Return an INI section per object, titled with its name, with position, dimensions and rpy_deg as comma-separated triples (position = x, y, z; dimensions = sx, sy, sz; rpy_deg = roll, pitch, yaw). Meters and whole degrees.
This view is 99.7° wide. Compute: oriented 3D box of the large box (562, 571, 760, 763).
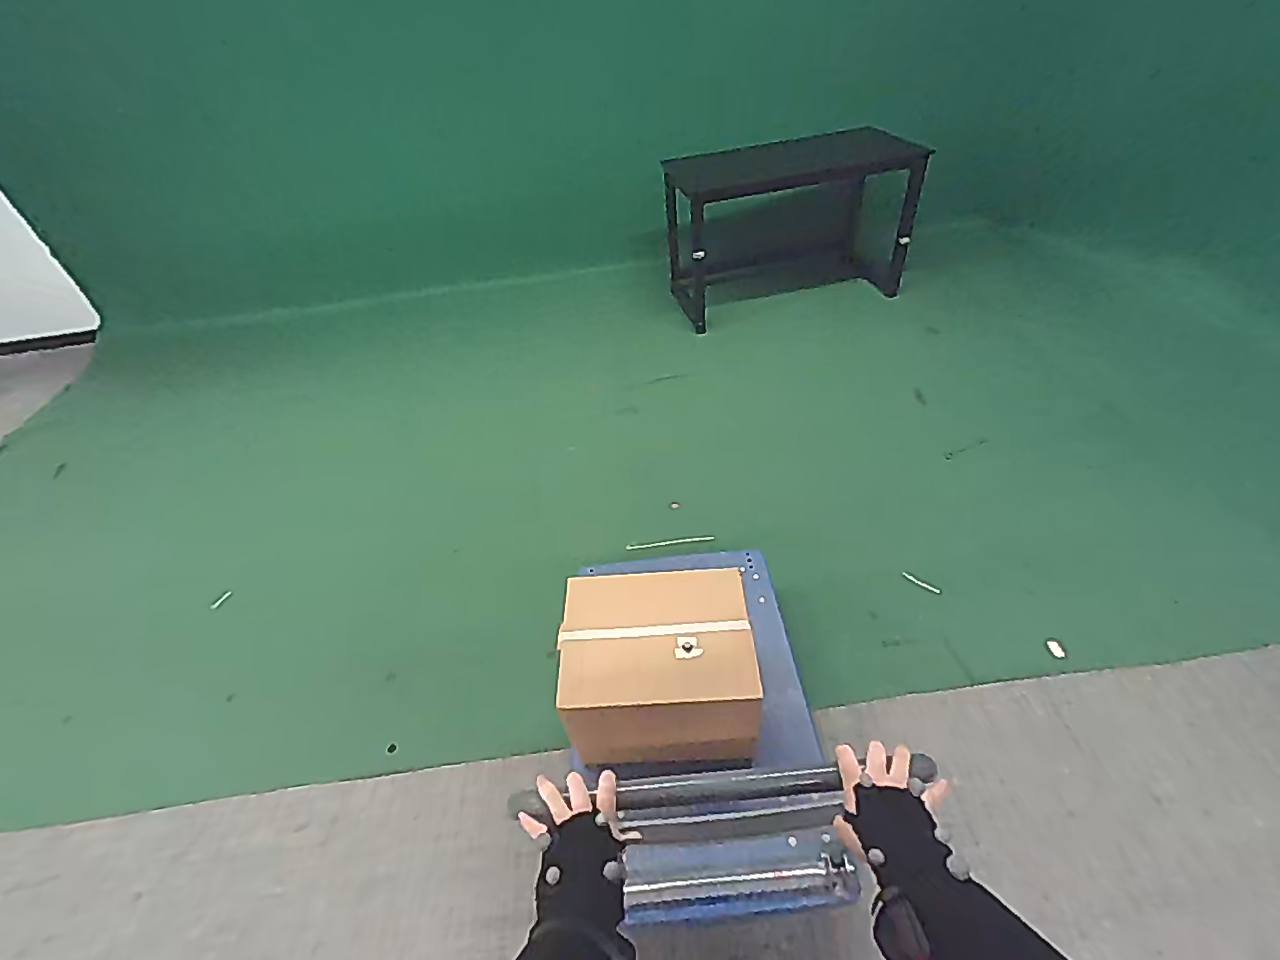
[large box]
position = 0.046, 0.442, 1.277
dimensions = 0.408, 0.320, 0.320
rpy_deg = -3, 43, 2
